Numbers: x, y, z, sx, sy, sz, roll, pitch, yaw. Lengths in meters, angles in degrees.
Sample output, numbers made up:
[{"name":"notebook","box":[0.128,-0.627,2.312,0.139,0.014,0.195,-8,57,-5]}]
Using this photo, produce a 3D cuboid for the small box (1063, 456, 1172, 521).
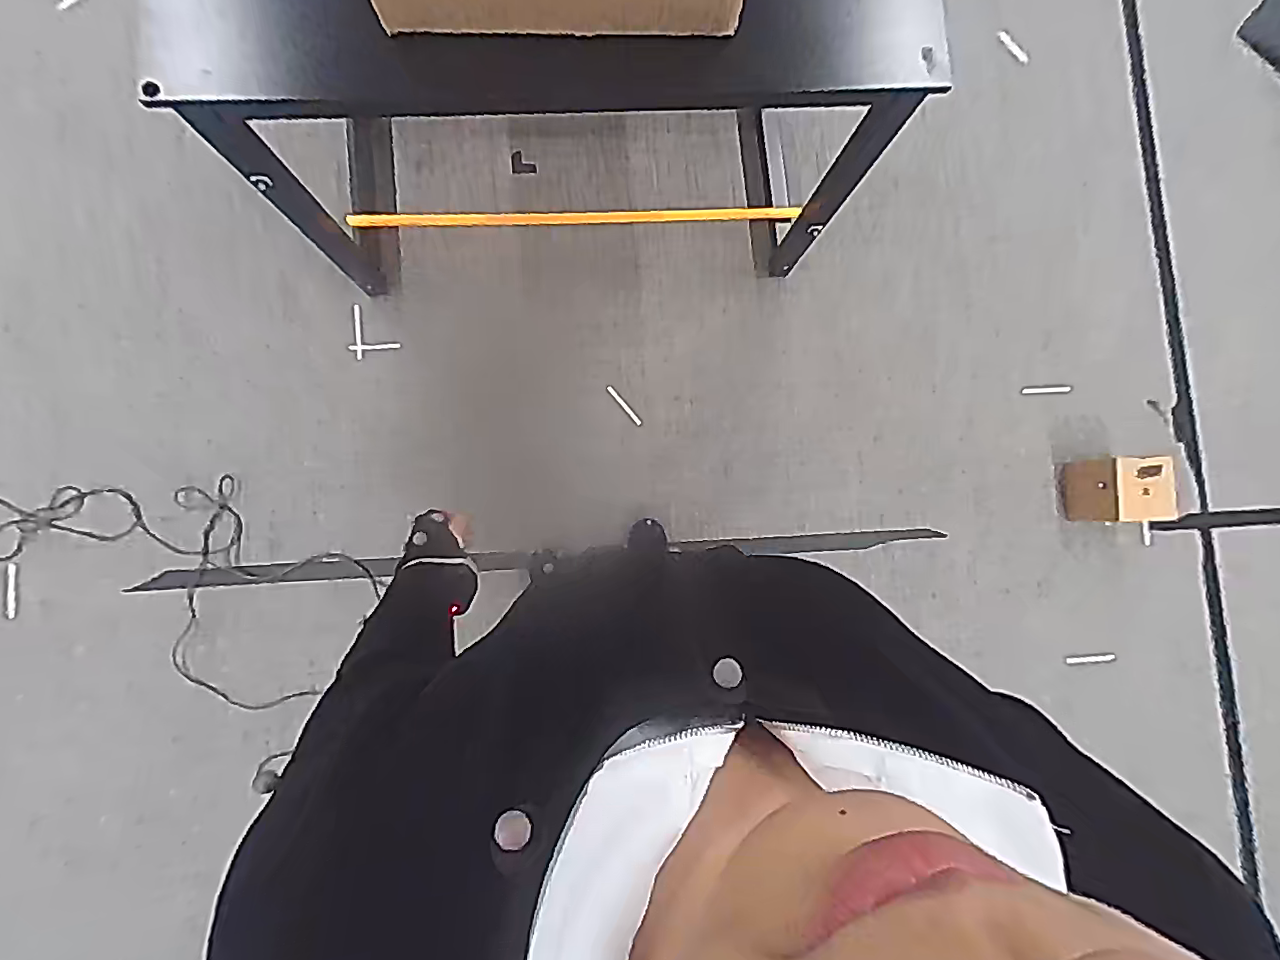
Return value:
[{"name":"small box","box":[1.346,0.028,1.534,0.168,0.176,0.179,-1,88,-4]}]
